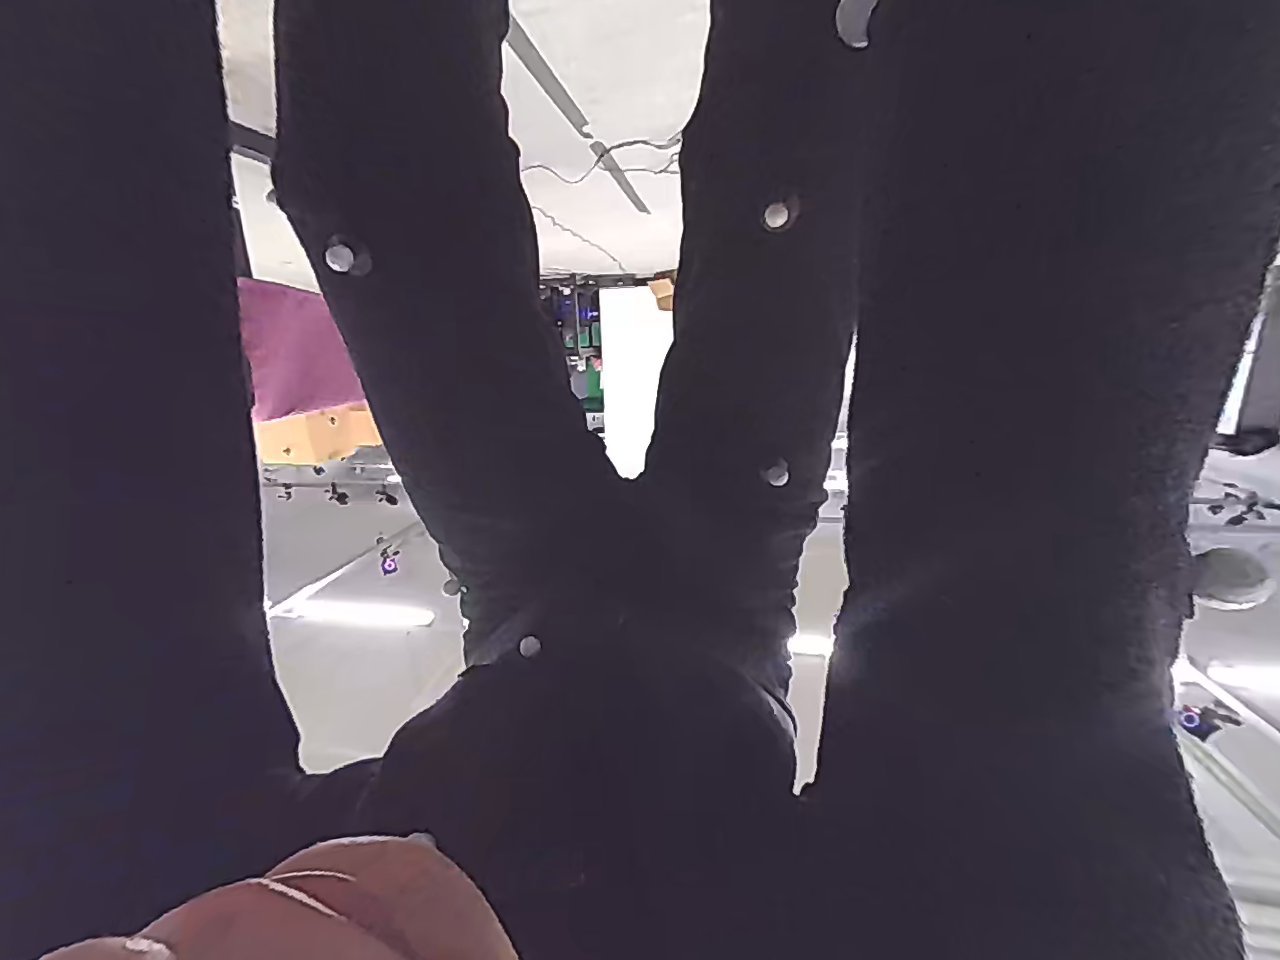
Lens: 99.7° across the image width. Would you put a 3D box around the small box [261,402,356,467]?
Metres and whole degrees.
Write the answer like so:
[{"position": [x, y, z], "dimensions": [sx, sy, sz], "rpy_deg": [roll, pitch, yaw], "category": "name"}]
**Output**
[{"position": [-0.975, -0.140, 1.591], "dimensions": [0.179, 0.176, 0.168], "rpy_deg": [1, -165, 13], "category": "small box"}]
